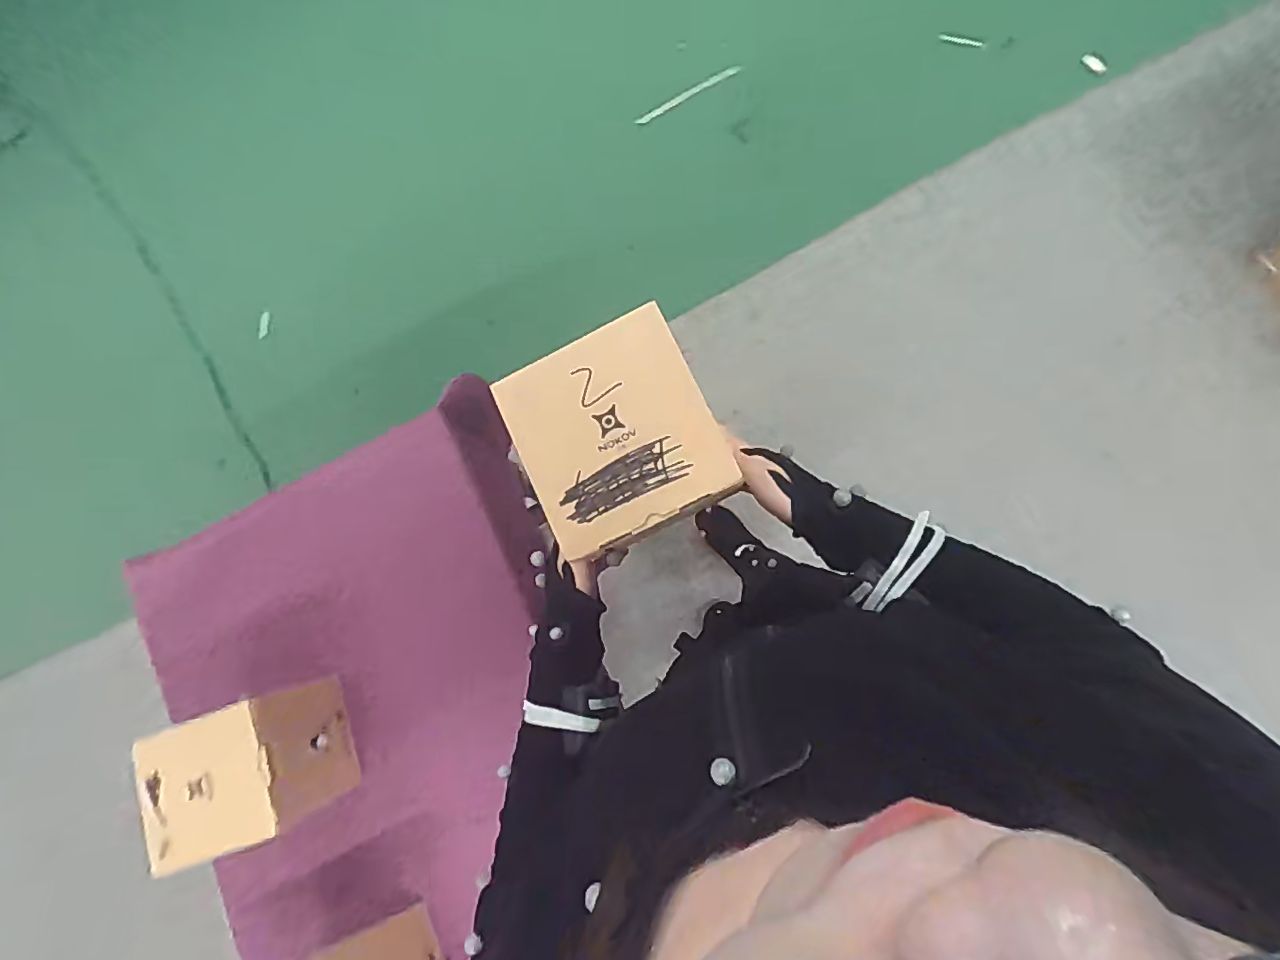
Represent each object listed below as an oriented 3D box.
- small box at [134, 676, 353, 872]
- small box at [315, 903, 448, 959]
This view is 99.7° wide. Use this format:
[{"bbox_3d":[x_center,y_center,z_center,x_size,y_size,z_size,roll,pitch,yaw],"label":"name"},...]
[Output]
[{"bbox_3d":[-0.531,0.390,0.751,0.179,0.176,0.168,-21,79,3],"label":"small box"},{"bbox_3d":[-0.357,0.695,0.682,0.179,0.176,0.168,-27,79,2],"label":"small box"}]
